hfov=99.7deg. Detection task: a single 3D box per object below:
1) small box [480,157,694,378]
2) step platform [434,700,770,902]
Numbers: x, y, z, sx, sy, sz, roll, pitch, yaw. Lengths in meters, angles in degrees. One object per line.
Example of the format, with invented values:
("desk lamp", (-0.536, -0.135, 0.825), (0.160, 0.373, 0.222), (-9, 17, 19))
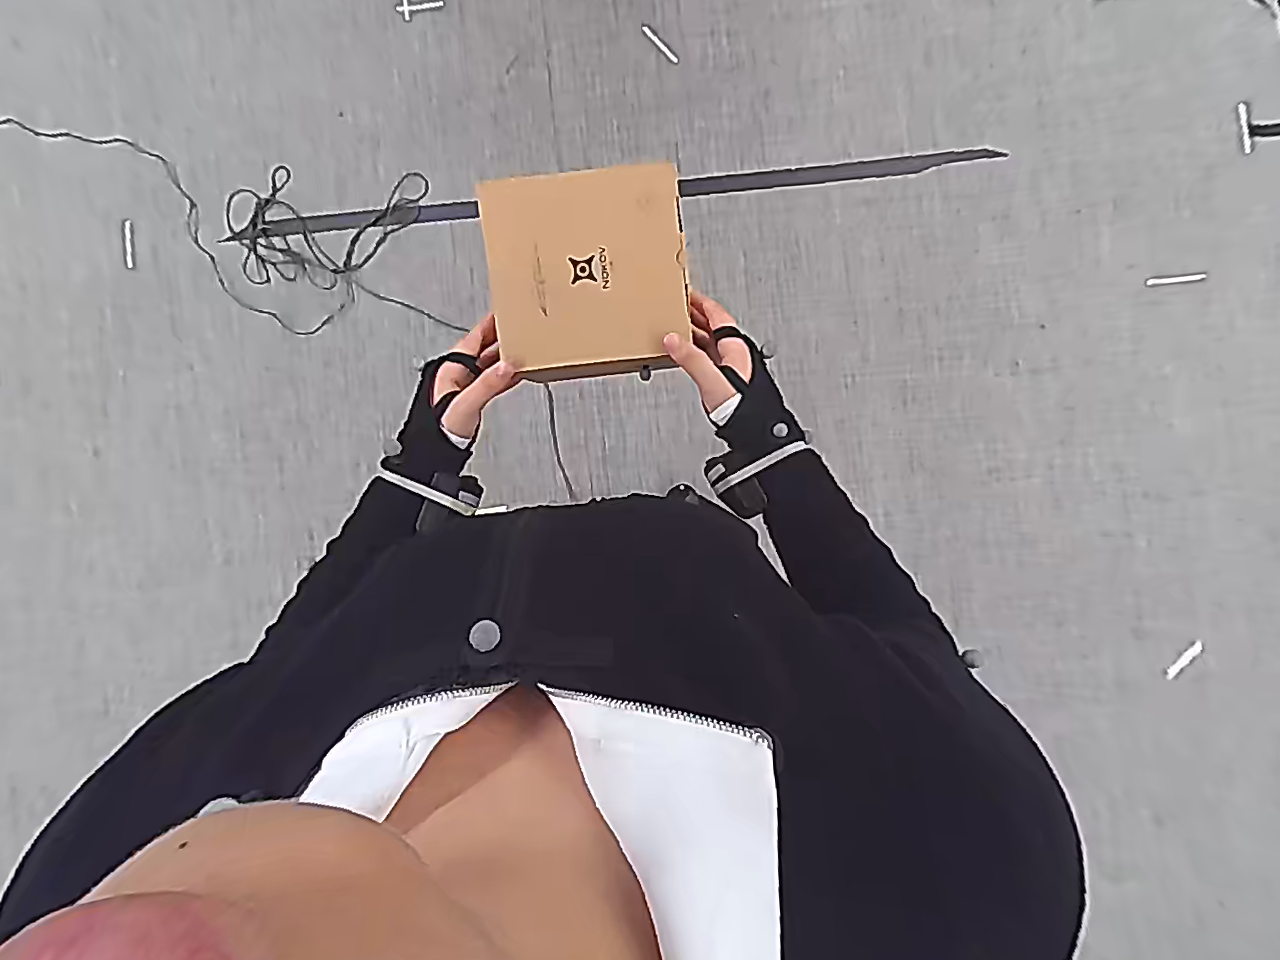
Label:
("small box", (-0.047, -0.202, 0.559), (0.179, 0.176, 0.168), (-7, 96, 1))
("step platform", (-0.077, 0.683, 1.187), (0.684, 0.204, 0.286), (-7, 89, 2))
